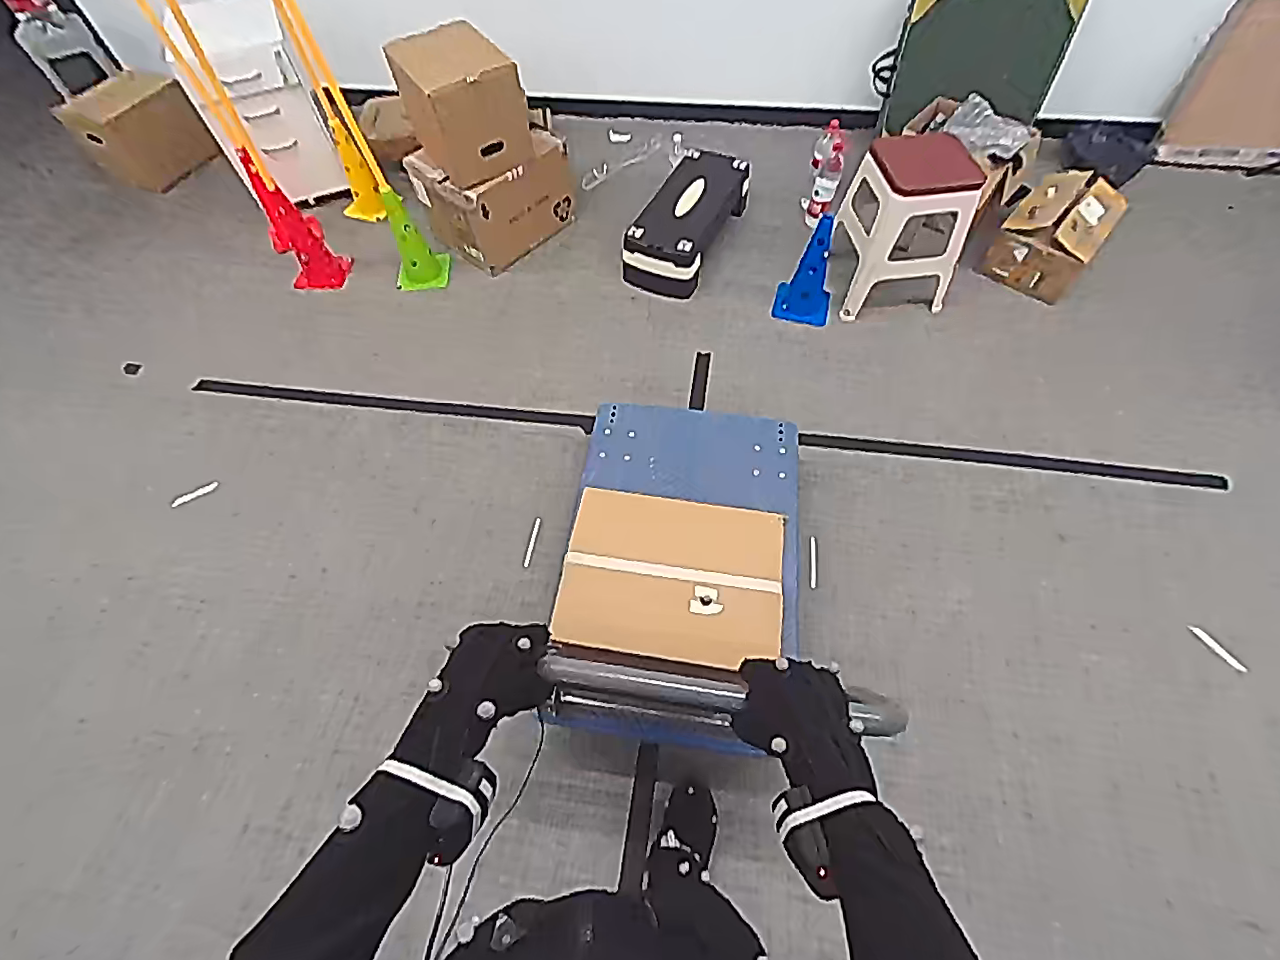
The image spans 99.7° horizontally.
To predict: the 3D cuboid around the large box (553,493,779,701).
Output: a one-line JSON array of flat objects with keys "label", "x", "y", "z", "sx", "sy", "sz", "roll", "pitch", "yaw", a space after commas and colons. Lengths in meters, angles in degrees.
[{"label": "large box", "x": 0.058, "y": 0.257, "z": 1.150, "sx": 0.408, "sy": 0.320, "sz": 0.320, "roll": 8, "pitch": 60, "yaw": 4}]
